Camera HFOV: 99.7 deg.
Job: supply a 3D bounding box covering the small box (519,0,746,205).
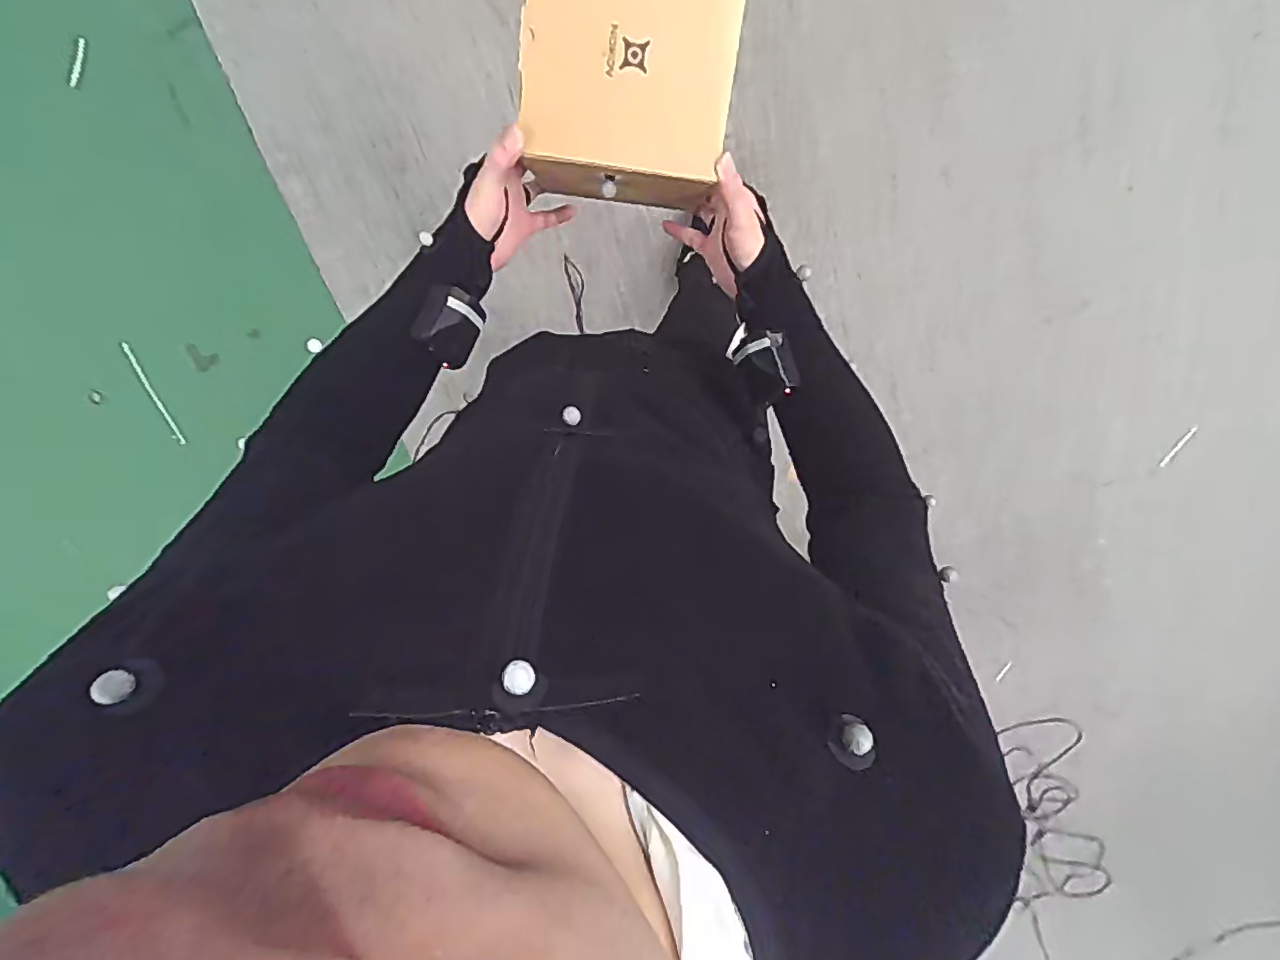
[{"bbox_3d":[-0.007,-0.372,0.516,0.179,0.176,0.168,7,109,0],"label":"small box"}]
